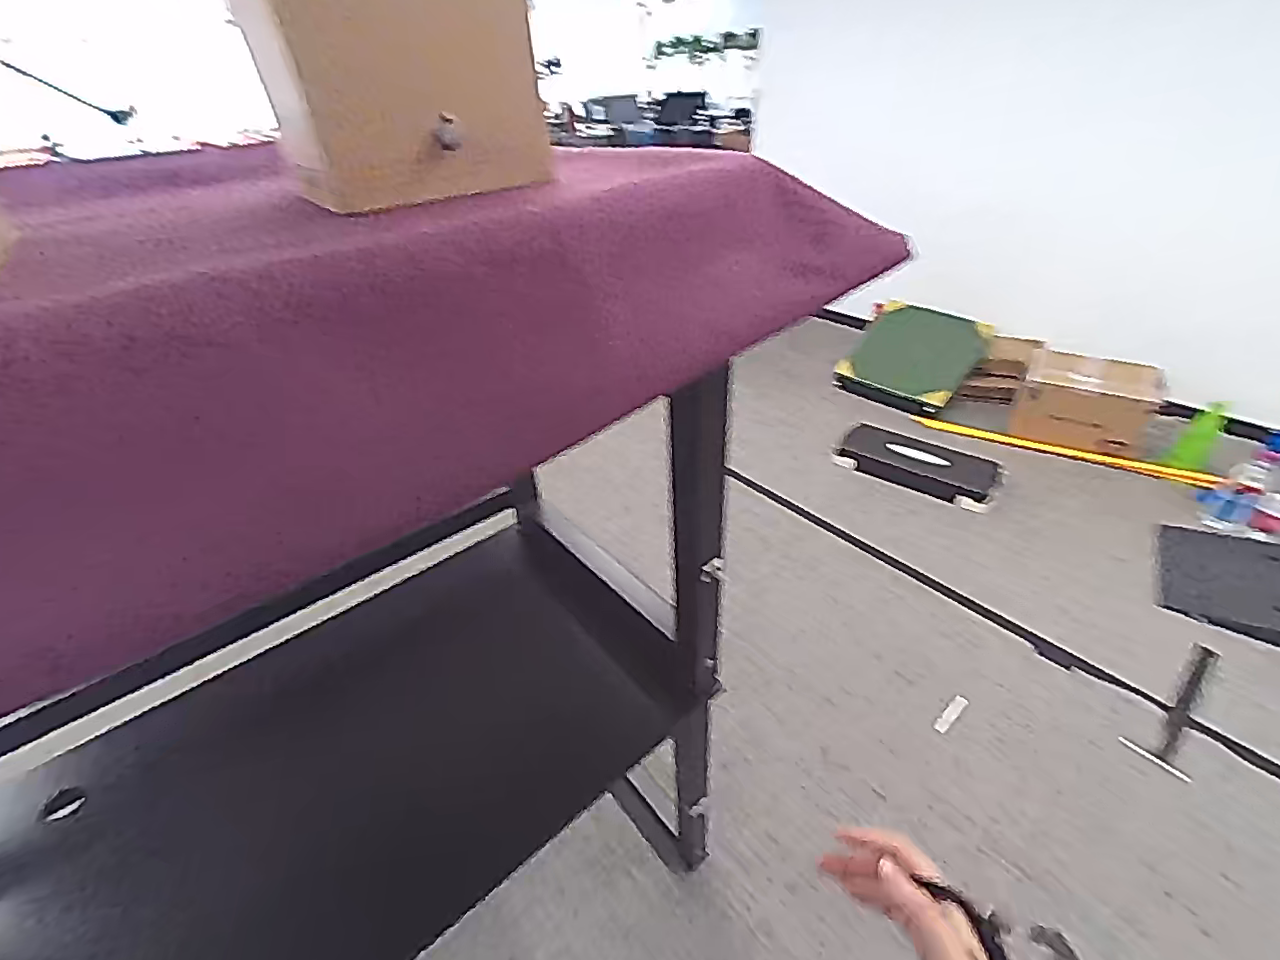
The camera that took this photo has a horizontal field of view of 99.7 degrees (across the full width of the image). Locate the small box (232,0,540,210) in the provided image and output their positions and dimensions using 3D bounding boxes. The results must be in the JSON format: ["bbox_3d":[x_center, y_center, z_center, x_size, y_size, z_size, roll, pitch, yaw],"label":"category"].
[{"bbox_3d":[-0.191,-0.322,0.419,0.179,0.176,0.168,-27,41,-28],"label":"small box"}]
